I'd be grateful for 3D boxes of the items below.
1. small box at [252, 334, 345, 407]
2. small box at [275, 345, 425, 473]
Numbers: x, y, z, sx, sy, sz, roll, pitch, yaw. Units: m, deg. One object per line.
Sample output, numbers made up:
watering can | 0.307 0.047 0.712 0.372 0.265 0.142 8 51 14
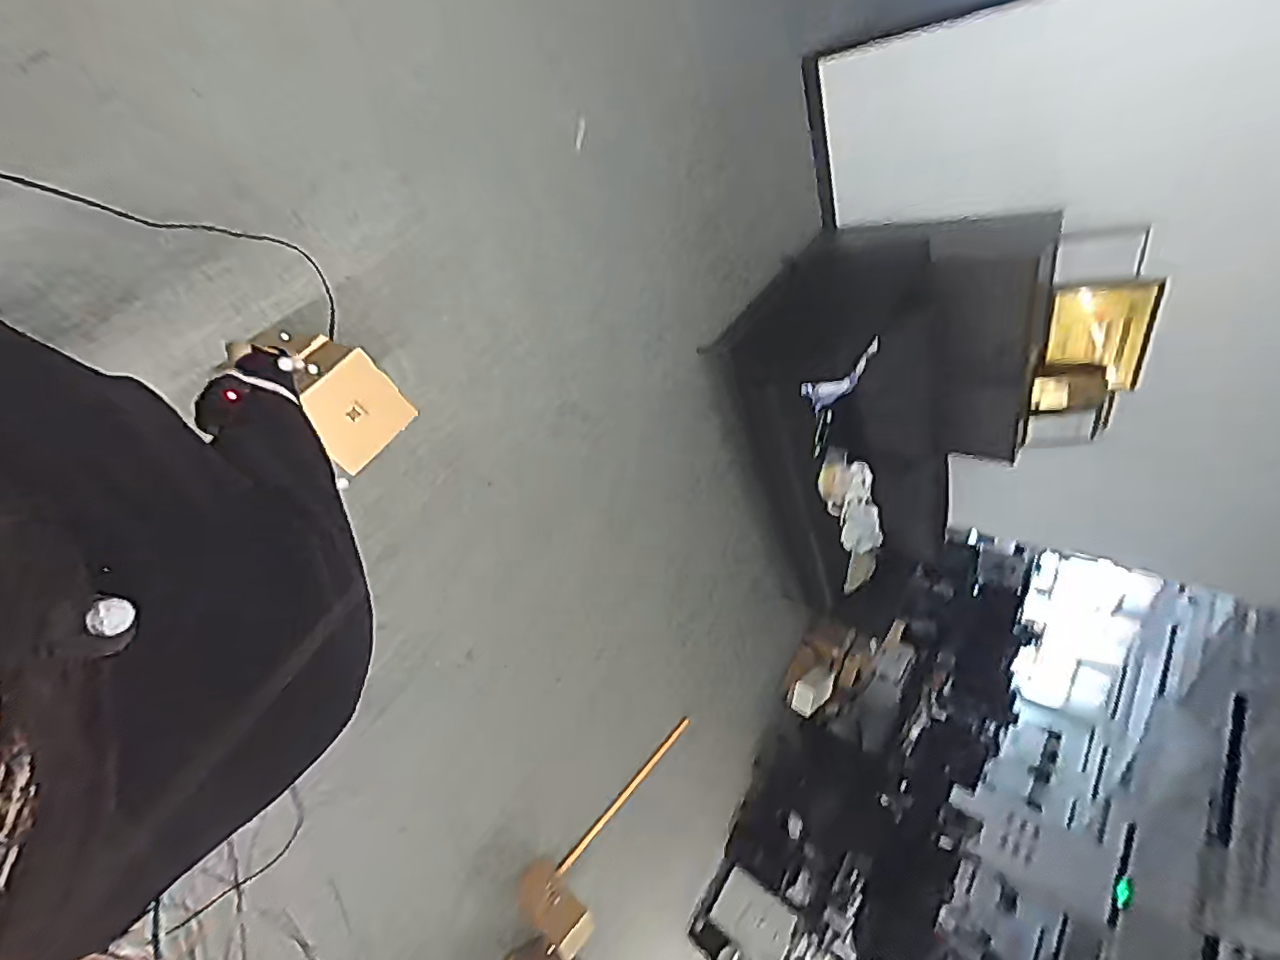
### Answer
small box | -0.677 -0.192 1.152 0.168 0.176 0.179 -52 136 -22
small box | -0.564 -0.142 1.045 0.179 0.176 0.168 -52 135 -23
